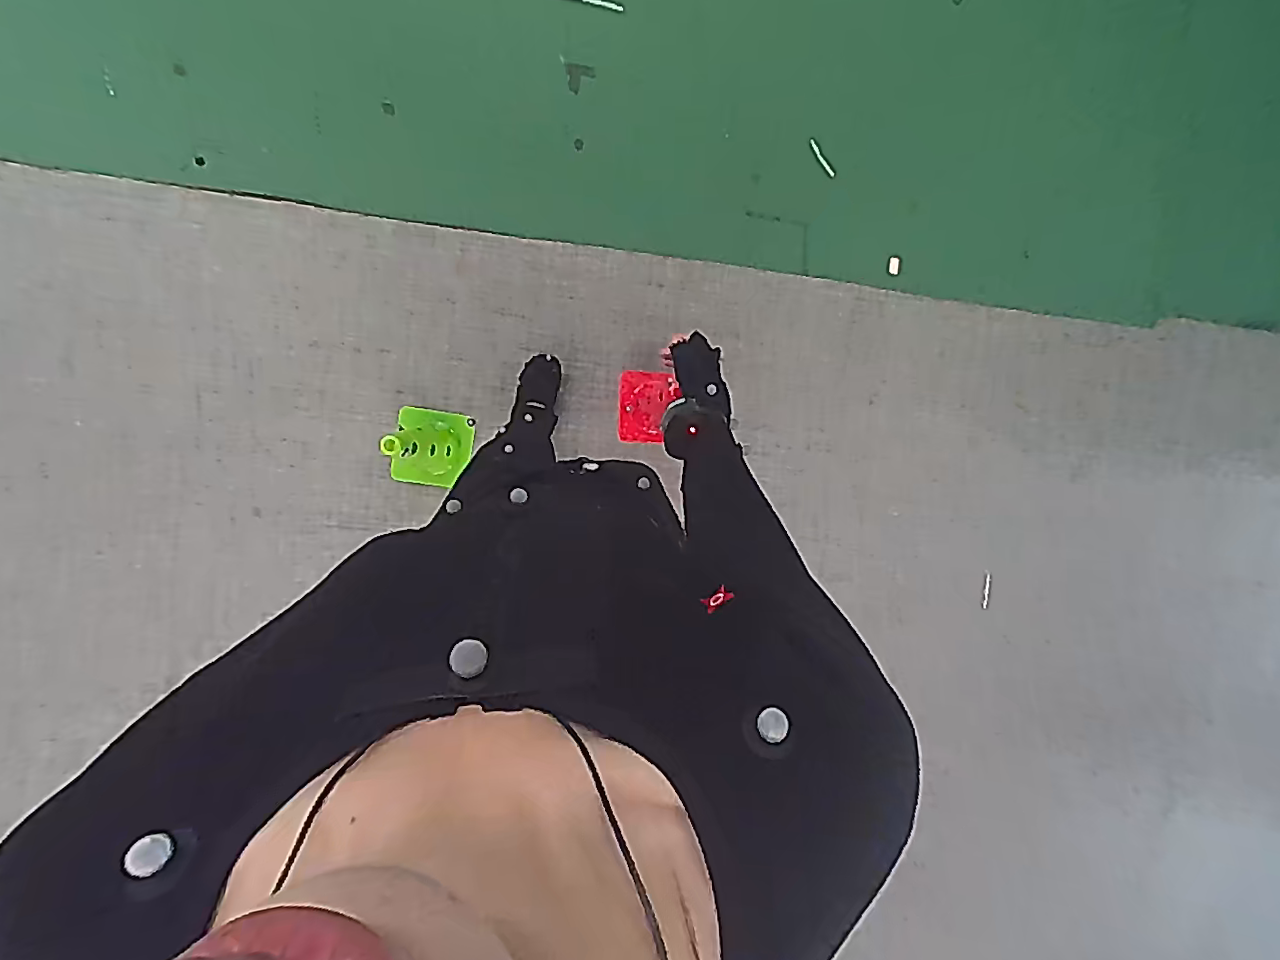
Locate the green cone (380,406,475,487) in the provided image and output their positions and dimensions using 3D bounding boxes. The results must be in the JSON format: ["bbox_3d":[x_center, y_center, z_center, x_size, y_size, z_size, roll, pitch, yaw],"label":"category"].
[{"bbox_3d":[-0.530,-0.079,1.269,0.200,0.368,0.202,7,92,-7],"label":"green cone"}]
